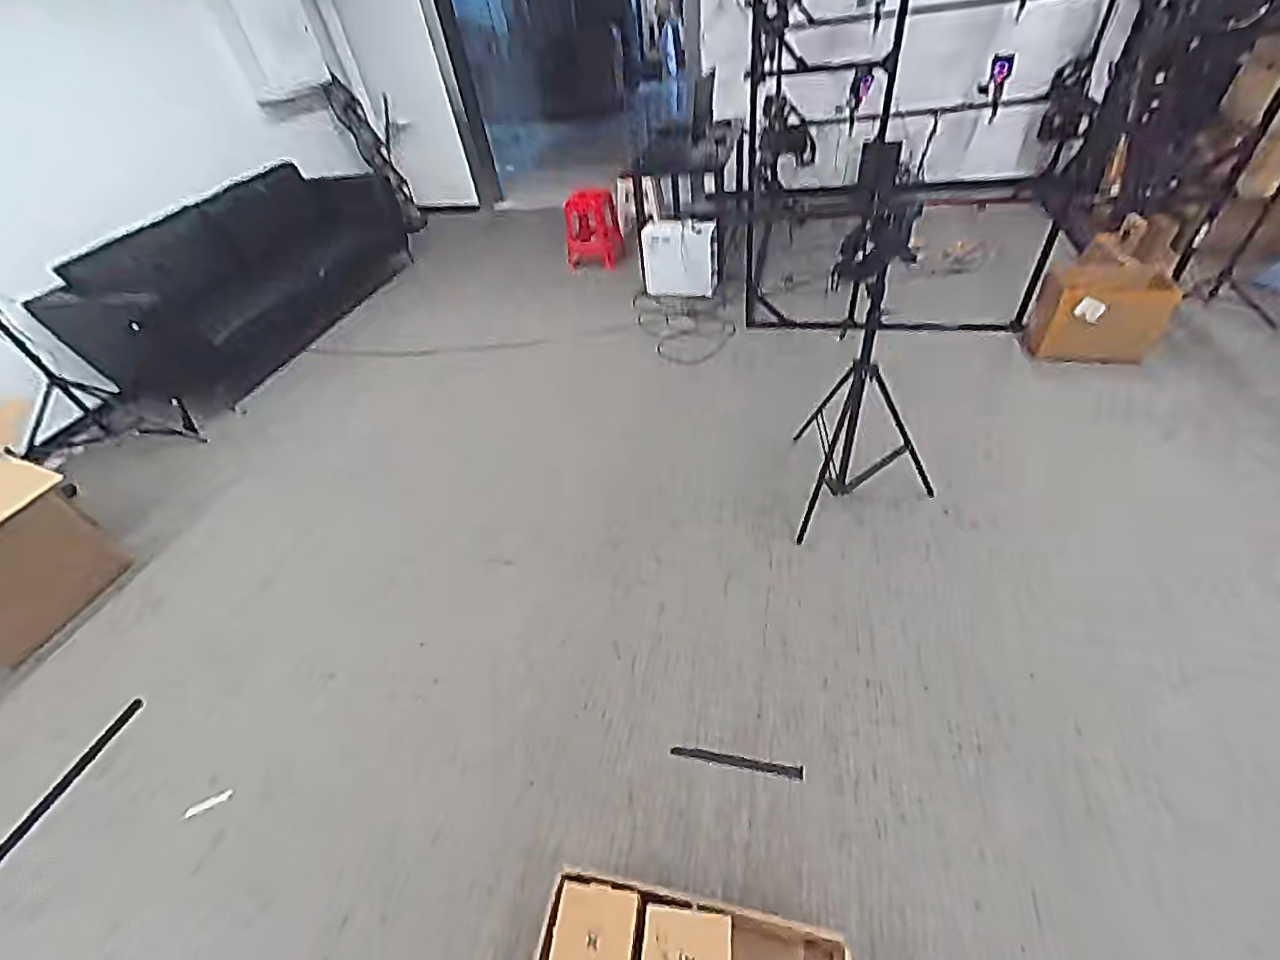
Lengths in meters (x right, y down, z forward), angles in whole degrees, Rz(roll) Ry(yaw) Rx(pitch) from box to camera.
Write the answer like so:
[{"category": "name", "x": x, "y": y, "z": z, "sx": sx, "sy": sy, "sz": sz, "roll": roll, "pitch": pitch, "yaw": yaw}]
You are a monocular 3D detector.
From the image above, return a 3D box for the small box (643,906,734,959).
[{"category": "small box", "x": 0.098, "y": 0.989, "z": 1.094, "sx": 0.179, "sy": 0.176, "sz": 0.168, "roll": 1, "pitch": 44, "yaw": 9}]
